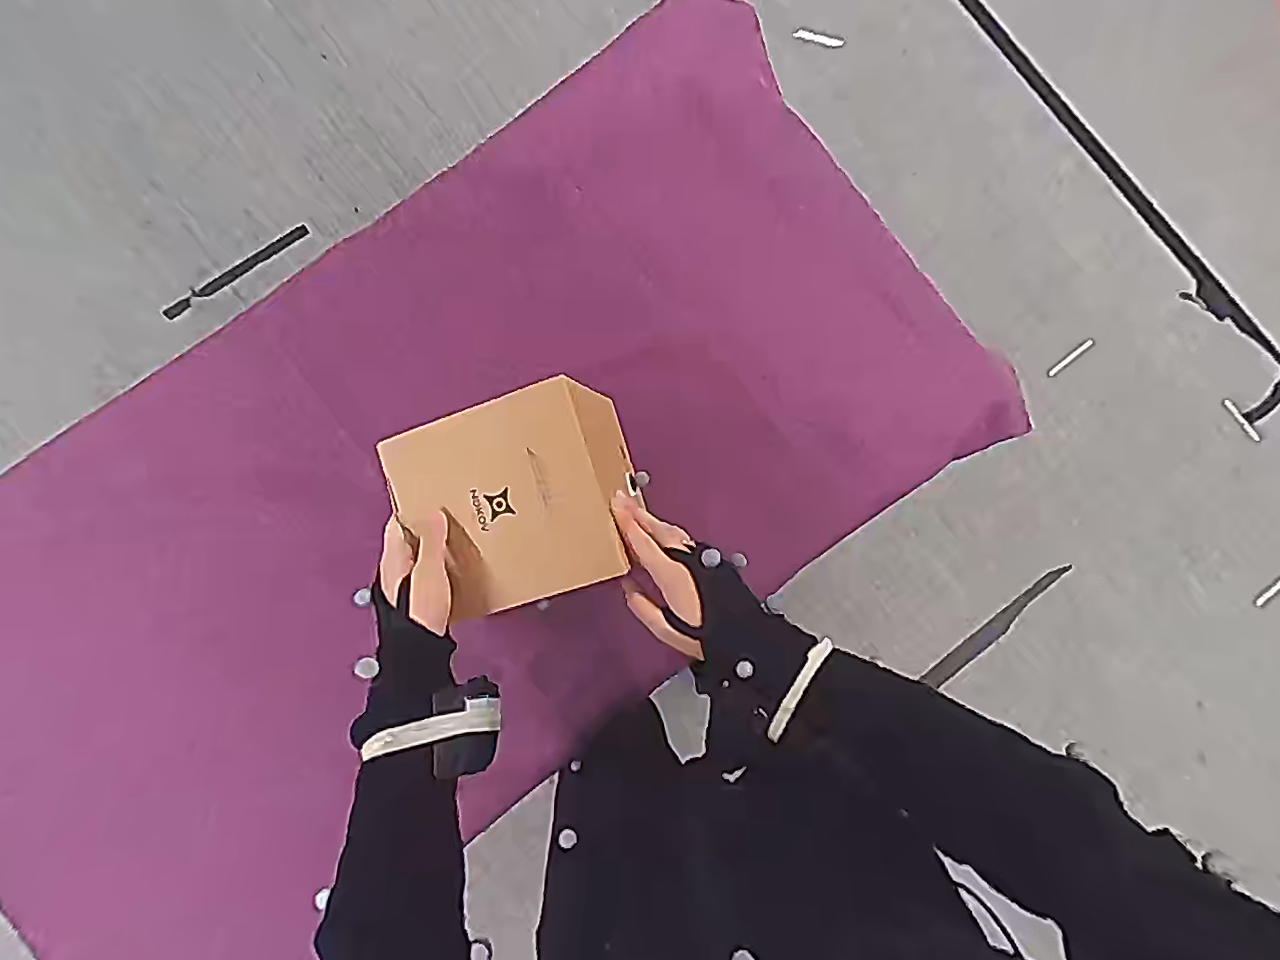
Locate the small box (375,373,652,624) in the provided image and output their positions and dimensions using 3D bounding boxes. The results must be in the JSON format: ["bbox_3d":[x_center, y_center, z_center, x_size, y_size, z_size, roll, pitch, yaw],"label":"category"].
[{"bbox_3d":[-0.104,0.017,0.515,0.179,0.176,0.168,-19,88,10],"label":"small box"}]
